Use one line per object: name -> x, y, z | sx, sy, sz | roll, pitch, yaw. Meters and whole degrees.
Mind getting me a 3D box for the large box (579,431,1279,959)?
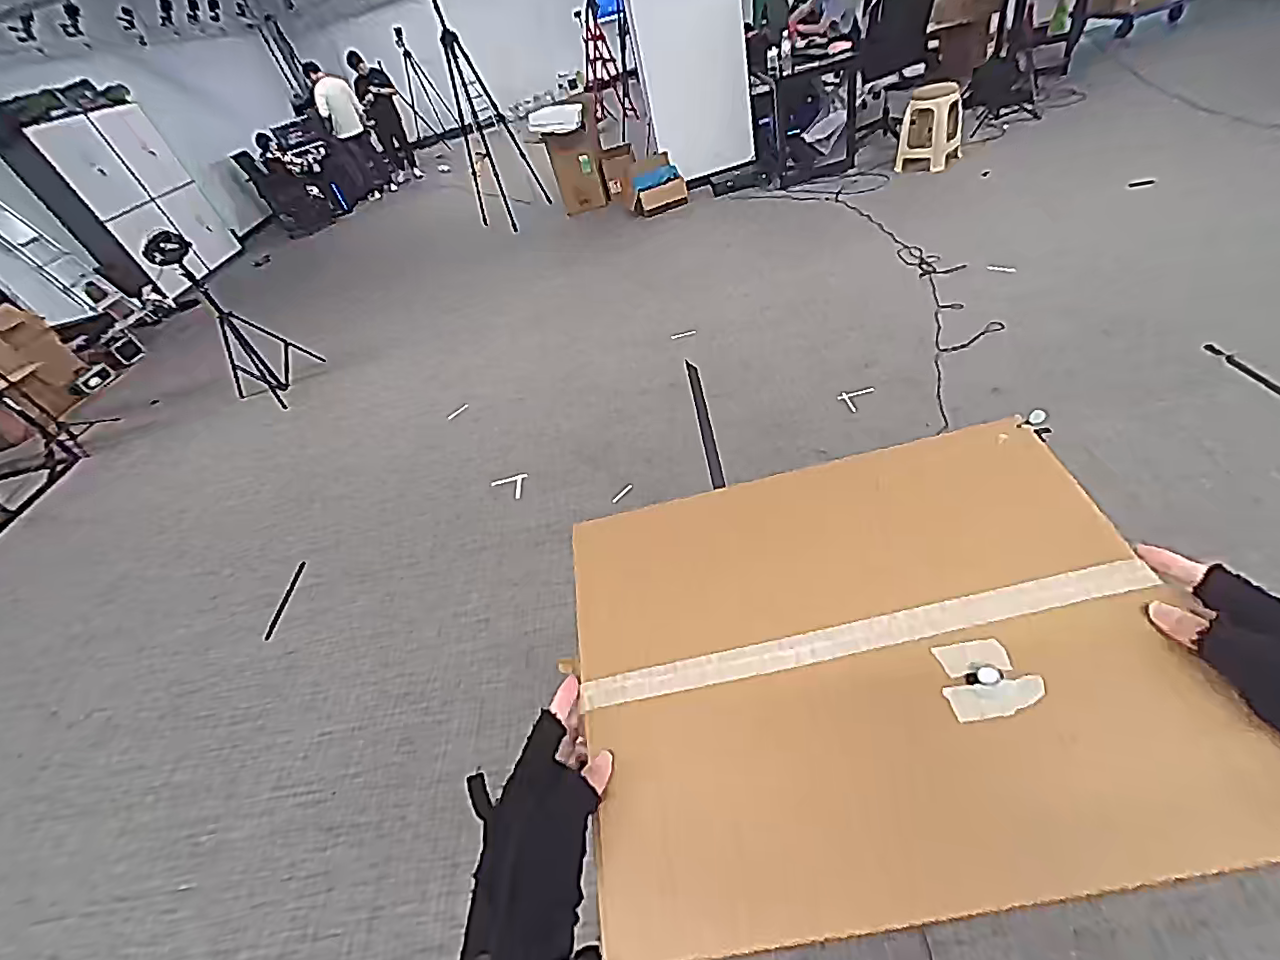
large box -> 0.185, 0.210, 0.515 | 0.408, 0.320, 0.320 | -14, 52, 4
